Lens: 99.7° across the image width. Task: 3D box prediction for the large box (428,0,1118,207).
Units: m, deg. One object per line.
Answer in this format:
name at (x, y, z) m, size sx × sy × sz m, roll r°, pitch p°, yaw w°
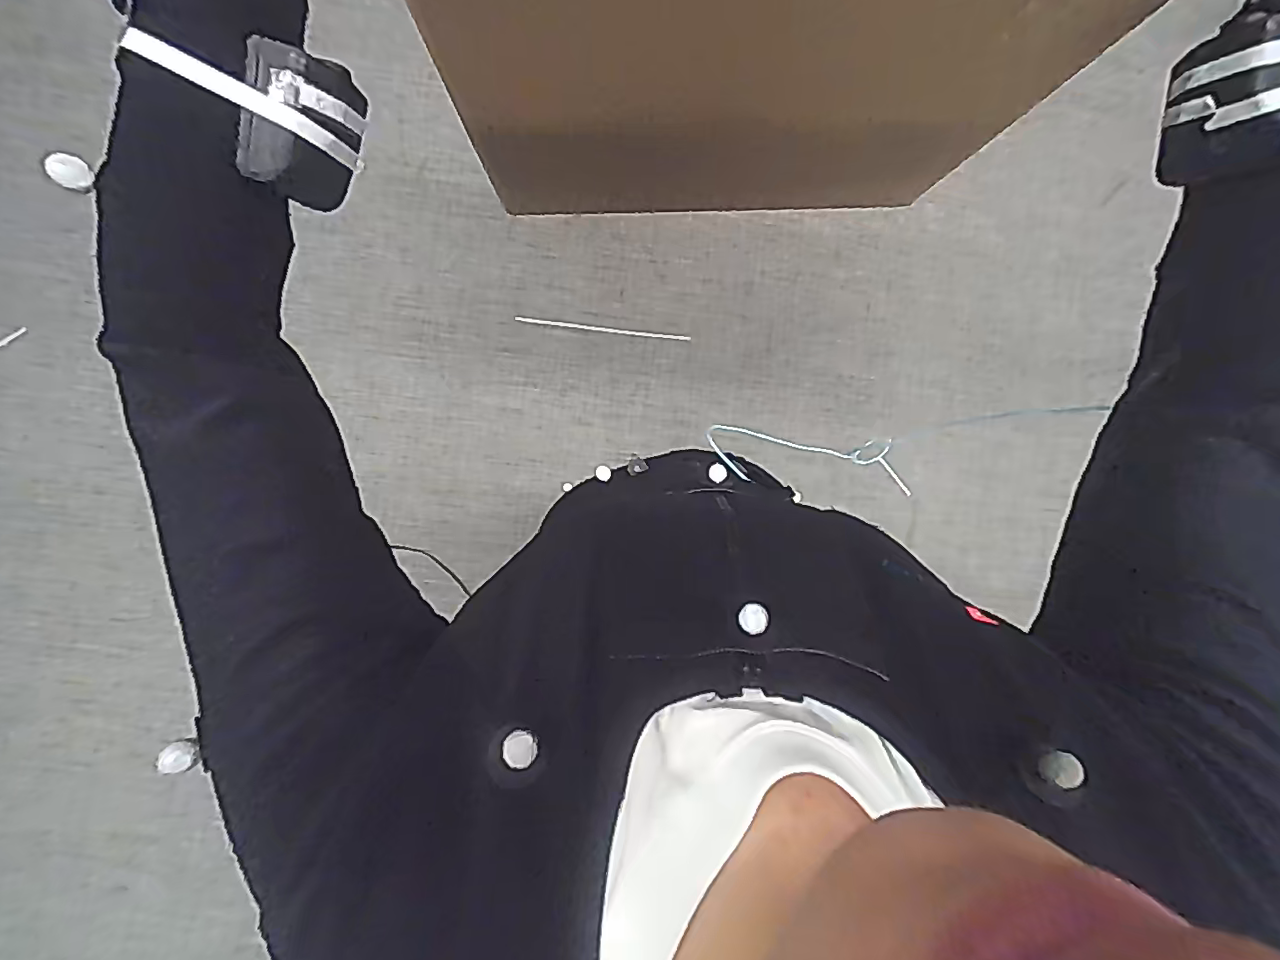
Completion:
large box at (0.068, -0.417, 0.376) m, size 0.408 × 0.320 × 0.320 m, roll -3°, pitch 95°, yaw -4°
